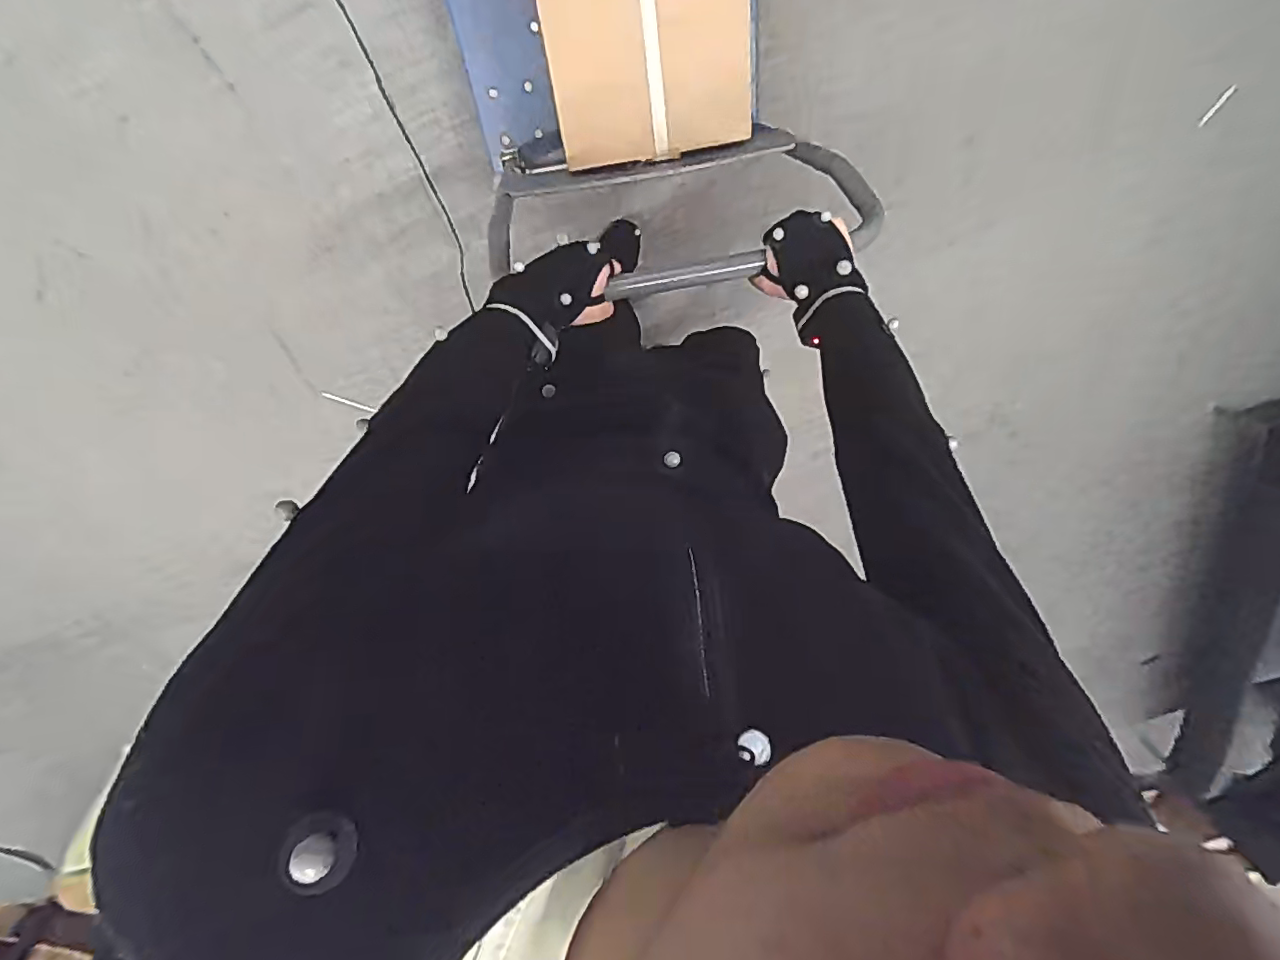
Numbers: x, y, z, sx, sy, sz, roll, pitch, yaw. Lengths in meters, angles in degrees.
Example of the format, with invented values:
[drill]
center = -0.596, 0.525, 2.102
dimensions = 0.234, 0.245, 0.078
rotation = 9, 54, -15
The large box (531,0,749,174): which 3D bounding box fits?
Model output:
[large box]
center = -0.017, -0.784, 0.914
dimensions = 0.320, 0.320, 0.408
rotation = -12, 125, -1
